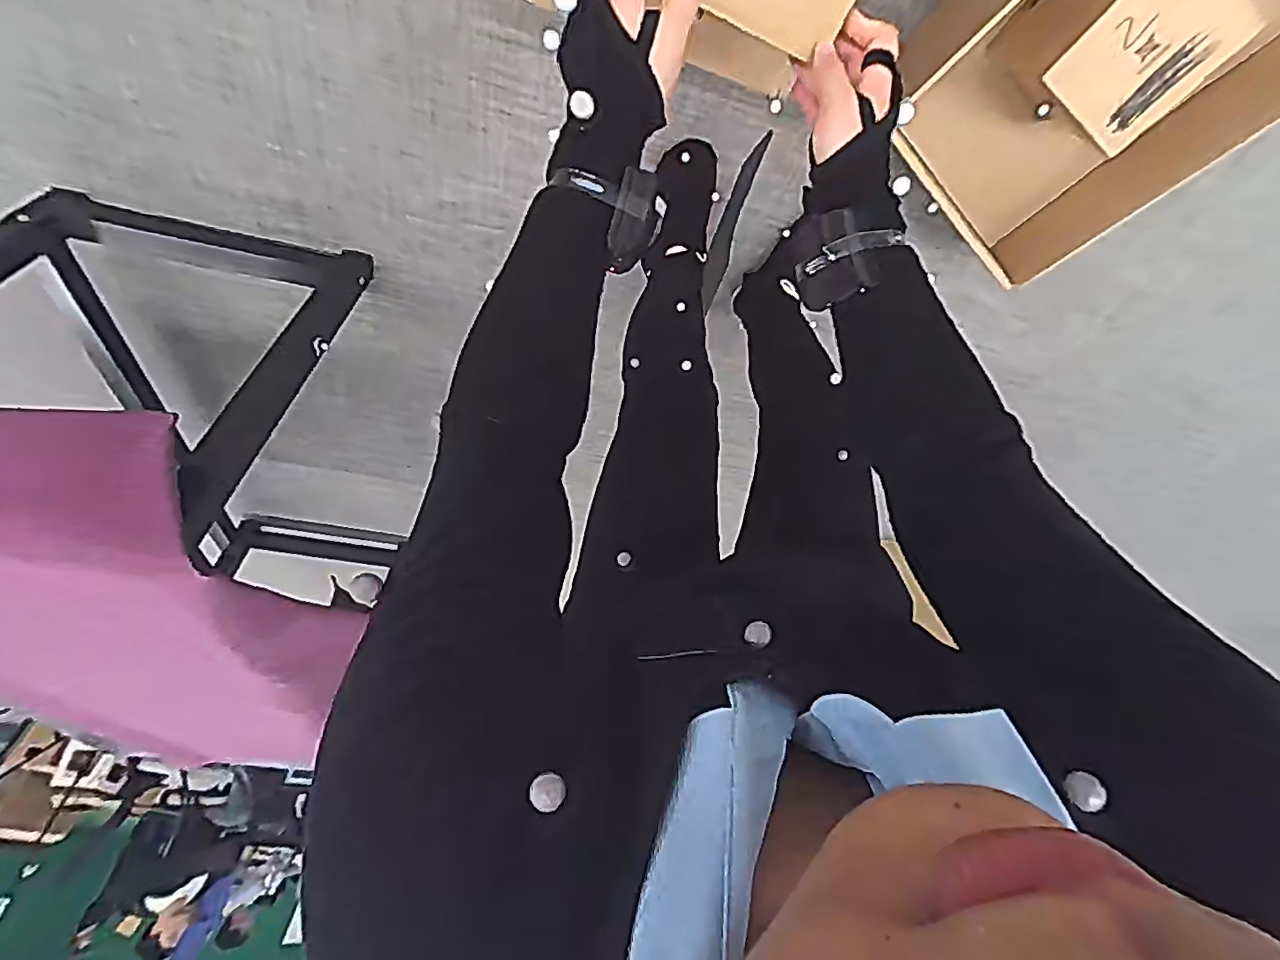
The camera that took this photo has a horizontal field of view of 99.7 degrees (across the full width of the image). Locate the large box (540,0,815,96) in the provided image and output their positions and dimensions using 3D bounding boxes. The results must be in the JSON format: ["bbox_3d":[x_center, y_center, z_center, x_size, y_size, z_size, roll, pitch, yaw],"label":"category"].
[{"bbox_3d":[0.092,-0.703,0.531,0.320,0.320,0.408,13,140,-11],"label":"large box"}]
